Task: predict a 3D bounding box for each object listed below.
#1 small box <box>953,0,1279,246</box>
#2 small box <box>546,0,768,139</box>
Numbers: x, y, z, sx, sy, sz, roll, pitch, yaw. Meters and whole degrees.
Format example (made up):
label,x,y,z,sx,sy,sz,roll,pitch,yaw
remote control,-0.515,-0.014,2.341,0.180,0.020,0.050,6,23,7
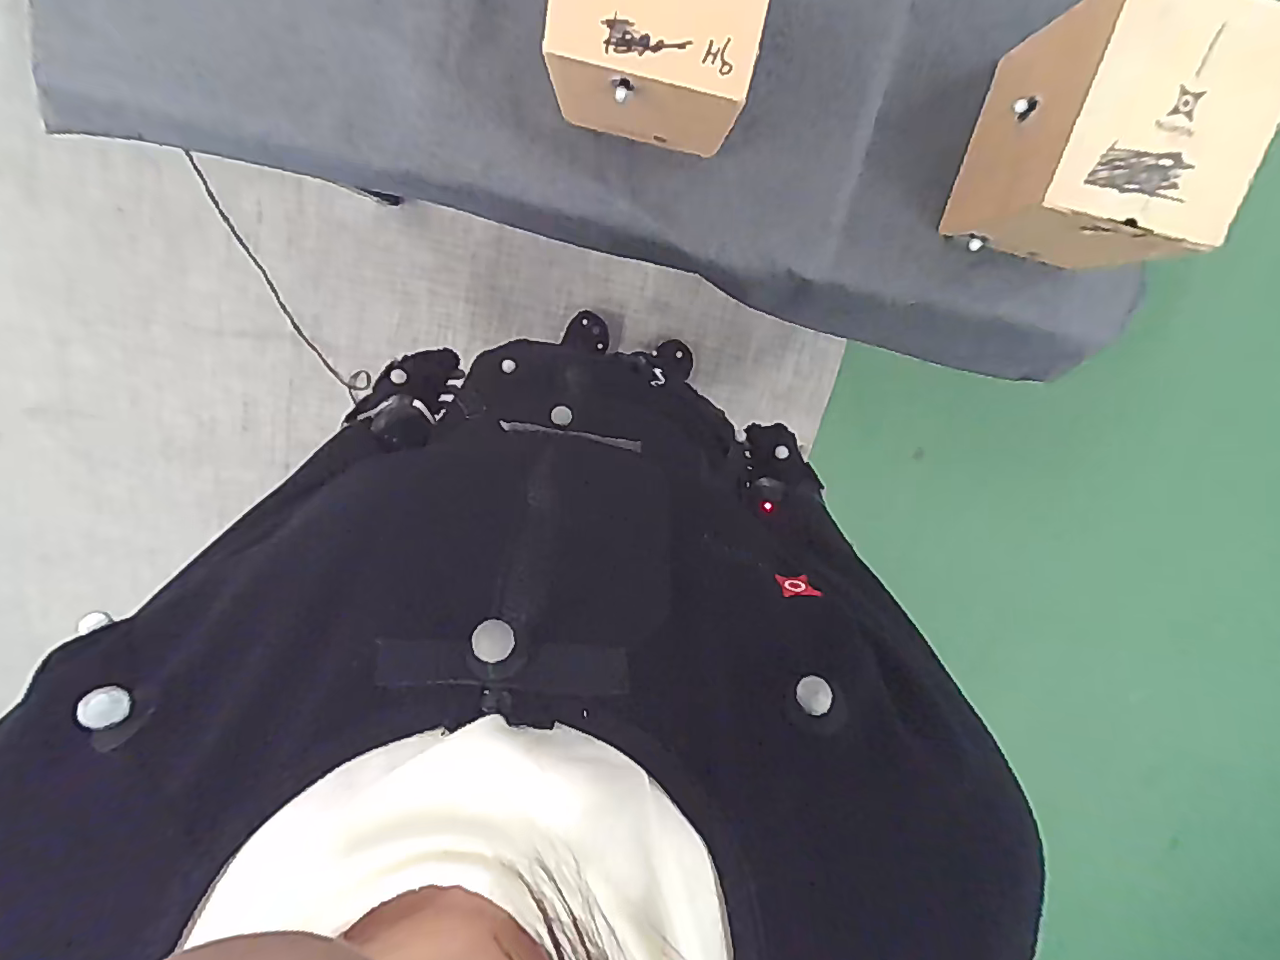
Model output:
label,x,y,z,sx,sy,sz,roll,pitch,yaw
small box,0.436,-0.334,0.509,0.168,0.176,0.179,13,106,-5
small box,0.022,-0.434,0.470,0.168,0.176,0.179,11,107,-5
